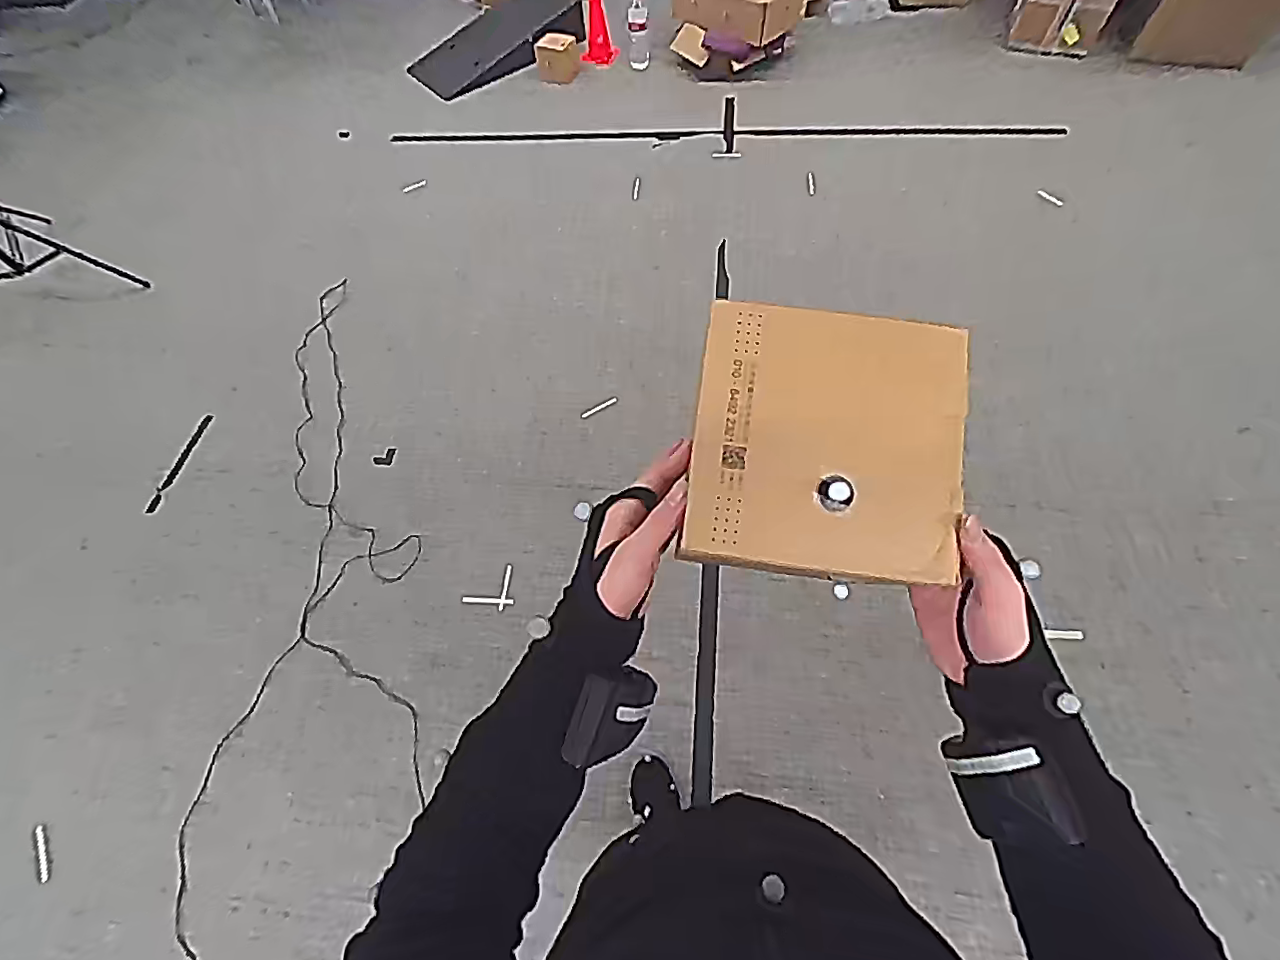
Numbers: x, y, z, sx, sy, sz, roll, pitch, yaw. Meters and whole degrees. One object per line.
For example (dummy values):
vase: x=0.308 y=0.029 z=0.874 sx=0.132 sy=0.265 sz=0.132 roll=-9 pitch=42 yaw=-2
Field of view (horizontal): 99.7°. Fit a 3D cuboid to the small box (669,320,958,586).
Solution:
small box: x=0.116 y=-0.011 z=0.426 sx=0.176 sy=0.179 sz=0.168 roll=9 pitch=81 yaw=2
